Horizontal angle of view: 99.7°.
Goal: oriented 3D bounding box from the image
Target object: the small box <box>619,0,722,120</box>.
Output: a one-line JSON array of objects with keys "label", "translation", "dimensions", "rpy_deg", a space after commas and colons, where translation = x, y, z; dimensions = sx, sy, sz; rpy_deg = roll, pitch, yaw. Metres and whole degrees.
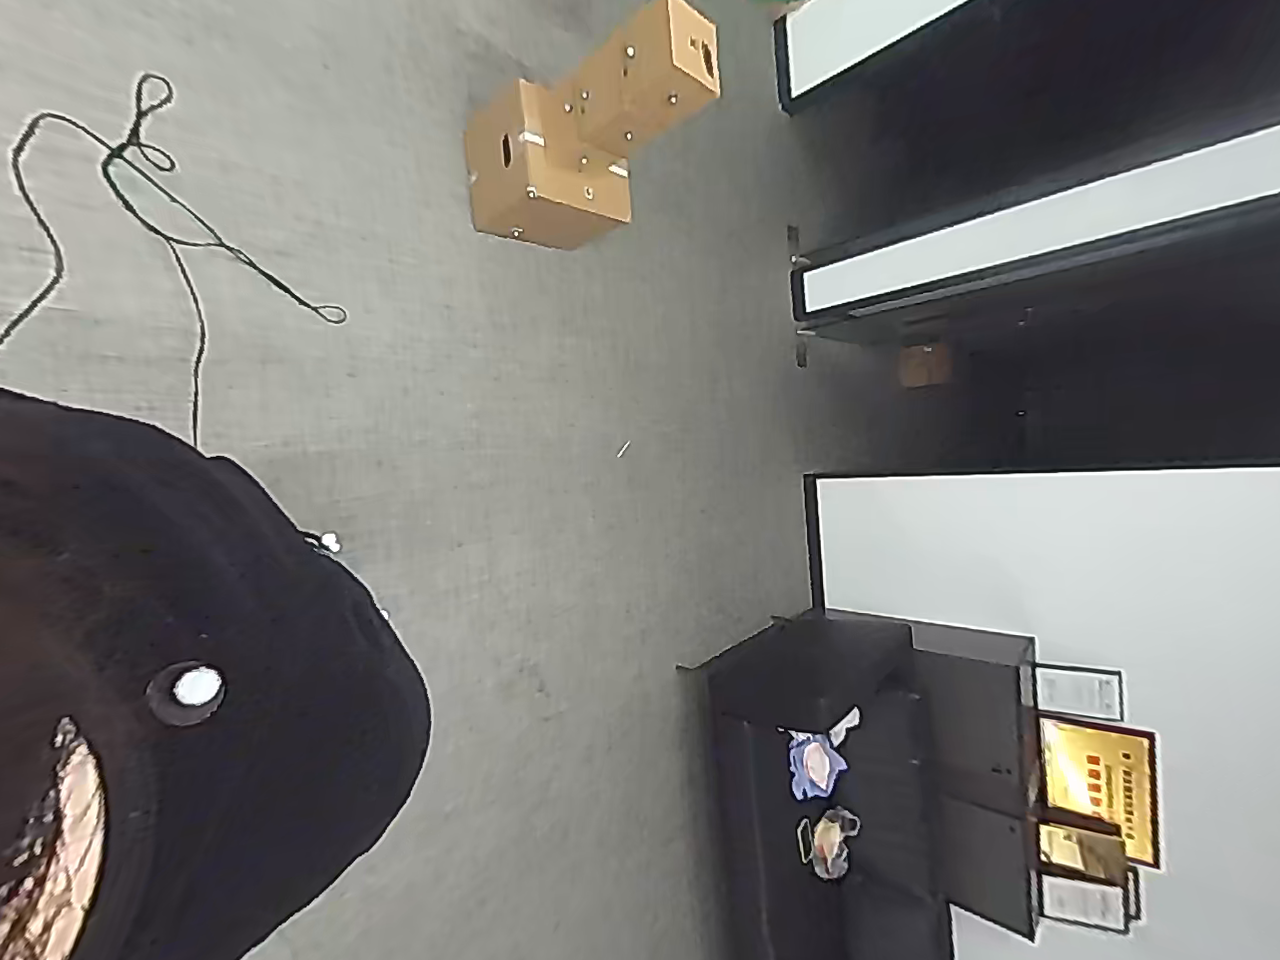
[{"label": "small box", "translation": [0.072, -0.997, 1.285], "dimensions": [0.179, 0.176, 0.168], "rpy_deg": [-8, 94, -44]}]

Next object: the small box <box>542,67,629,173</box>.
[{"label": "small box", "translation": [-0.156, -1.000, 1.523], "dimensions": [0.168, 0.176, 0.179], "rpy_deg": [-13, 97, -45]}]
